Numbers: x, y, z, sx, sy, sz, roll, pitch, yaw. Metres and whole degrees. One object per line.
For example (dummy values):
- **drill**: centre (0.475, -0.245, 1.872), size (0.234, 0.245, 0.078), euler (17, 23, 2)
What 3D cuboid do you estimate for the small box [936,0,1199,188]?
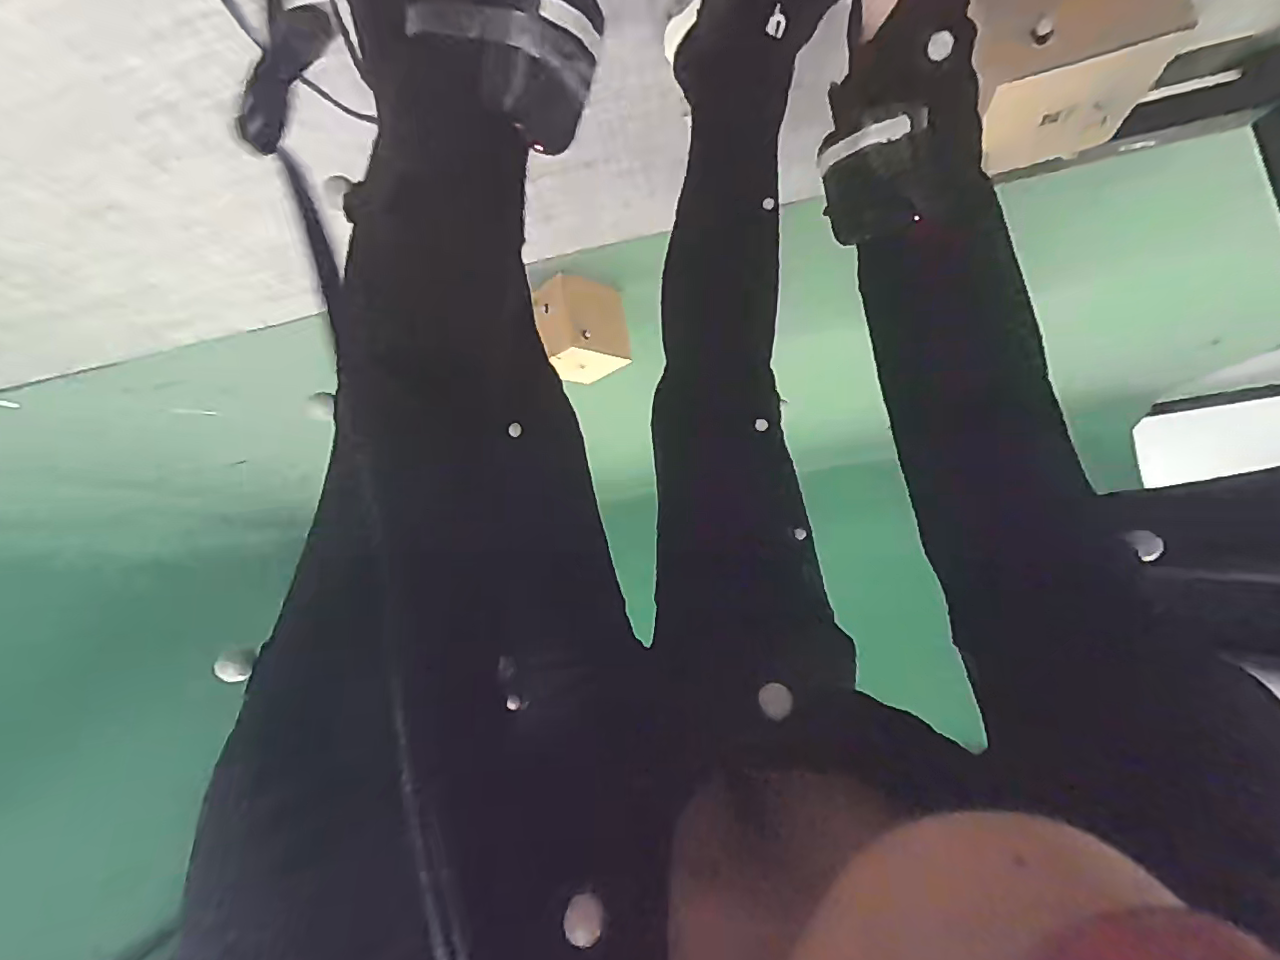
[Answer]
- **small box**: centre (0.467, -0.488, 0.628), size (0.179, 0.176, 0.168), euler (-10, 171, 15)

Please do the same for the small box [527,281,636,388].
- **small box**: centre (-0.133, -0.319, 1.206), size (0.179, 0.176, 0.168), euler (2, 167, -43)
